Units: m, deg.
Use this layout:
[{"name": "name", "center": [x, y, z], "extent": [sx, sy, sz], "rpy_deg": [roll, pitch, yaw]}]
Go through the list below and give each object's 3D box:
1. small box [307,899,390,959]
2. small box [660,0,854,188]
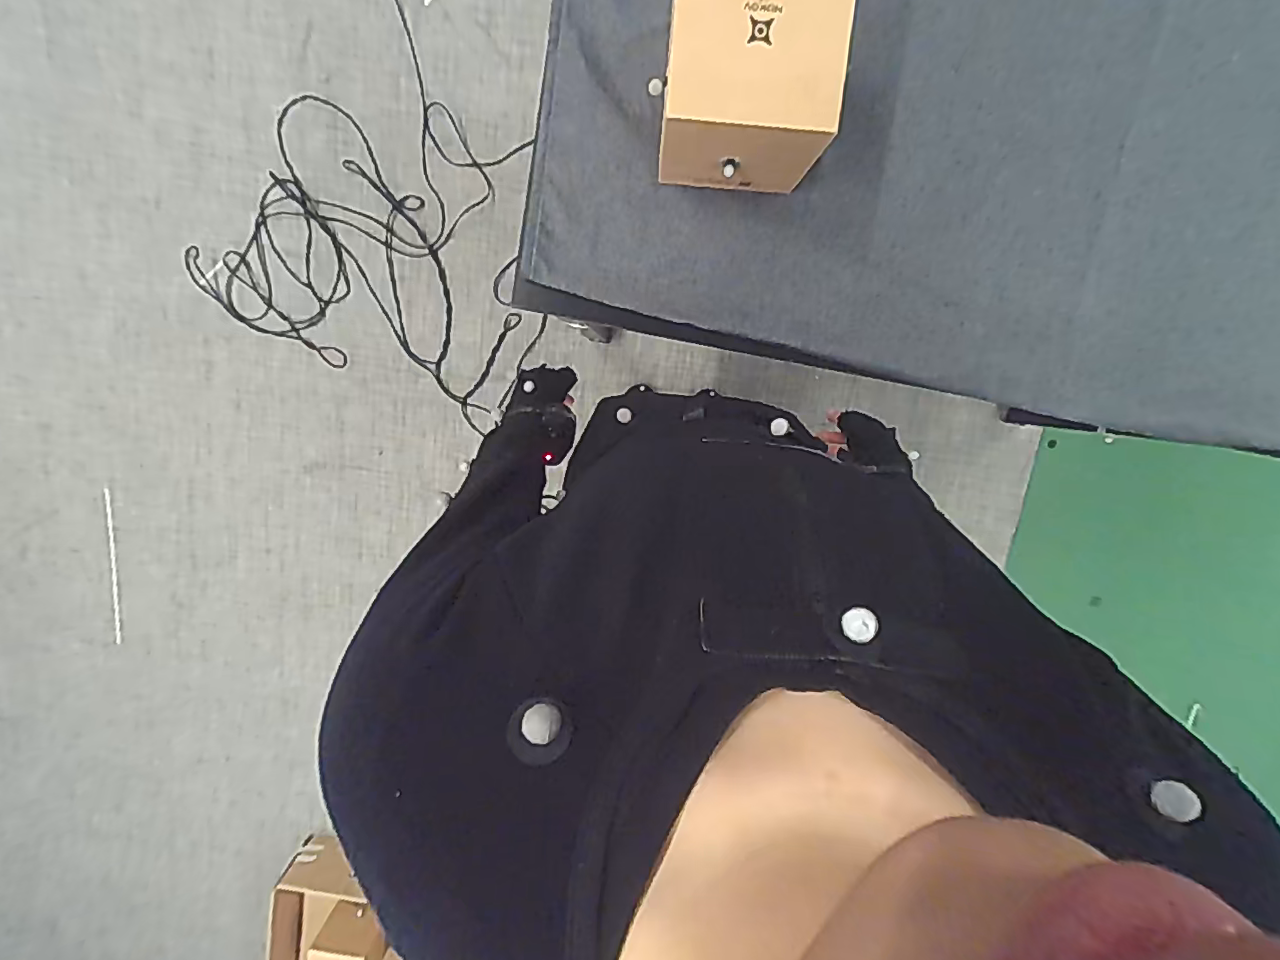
[{"name": "small box", "center": [-0.866, 1.410, 1.611], "extent": [0.168, 0.176, 0.179], "rpy_deg": [9, 101, 0]}, {"name": "small box", "center": [0.111, -0.432, 0.571], "extent": [0.168, 0.176, 0.179], "rpy_deg": [5, 99, -1]}]
